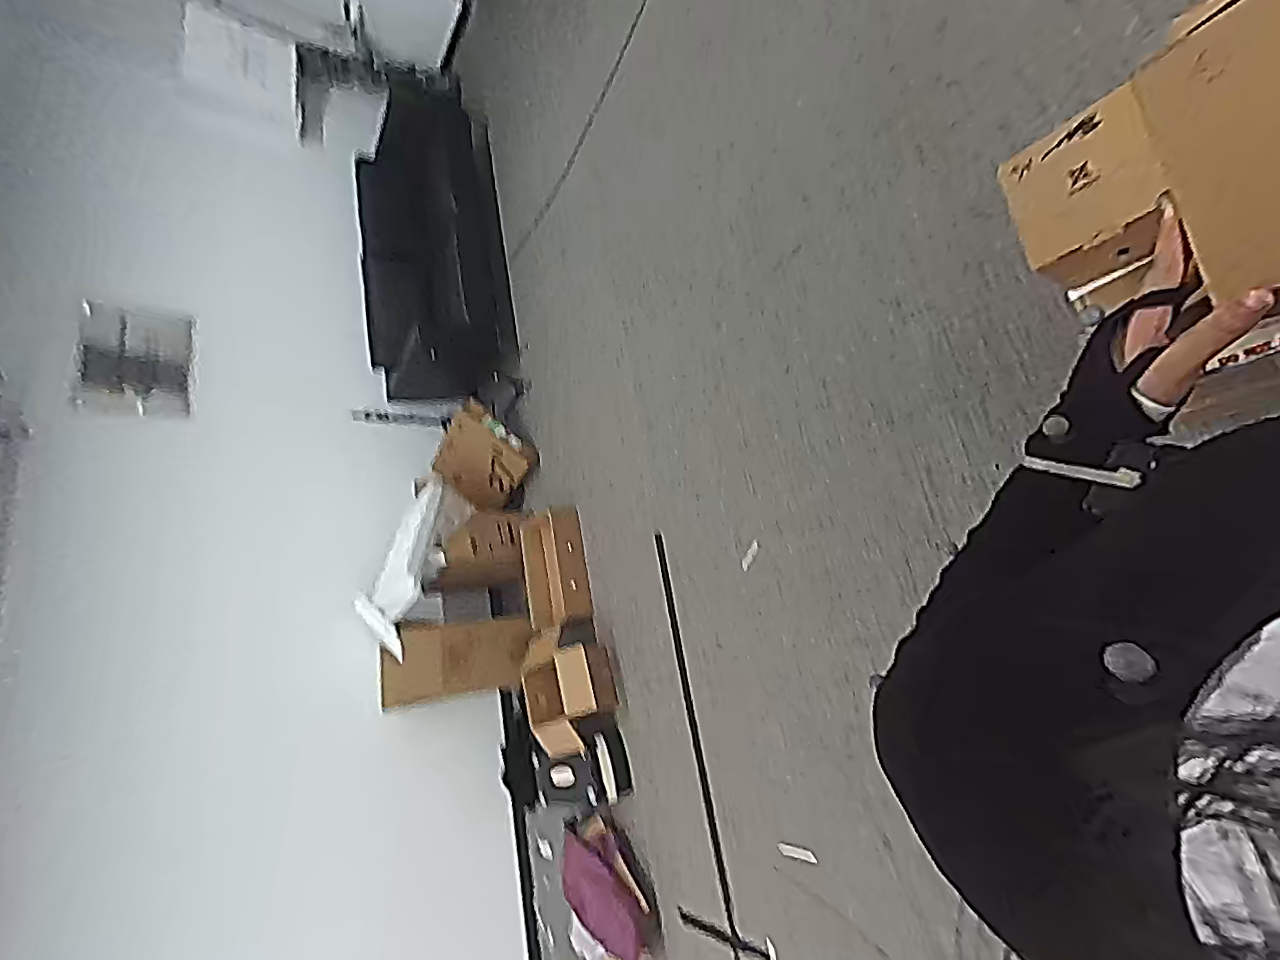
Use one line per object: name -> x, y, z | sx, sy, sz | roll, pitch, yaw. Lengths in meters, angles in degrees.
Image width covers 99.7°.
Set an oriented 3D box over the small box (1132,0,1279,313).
small box -> 0.447, -0.216, 0.326 | 0.168, 0.176, 0.179 | -21, 80, 56
